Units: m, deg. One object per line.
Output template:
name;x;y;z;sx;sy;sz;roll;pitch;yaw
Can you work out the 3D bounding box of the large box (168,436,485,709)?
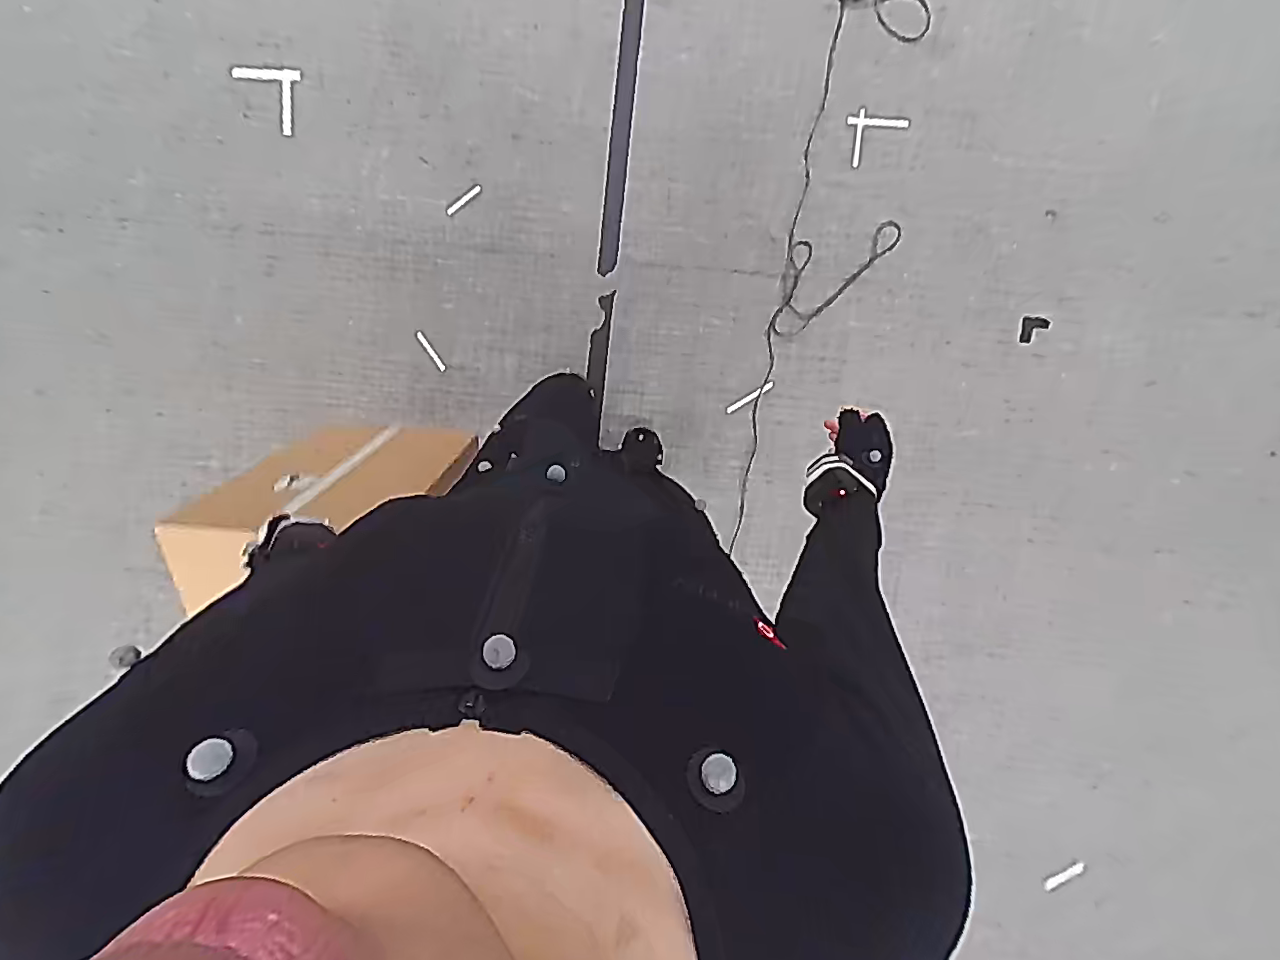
large box;-0.488;0.136;0.965;0.320;0.408;0.320;1;114;1
